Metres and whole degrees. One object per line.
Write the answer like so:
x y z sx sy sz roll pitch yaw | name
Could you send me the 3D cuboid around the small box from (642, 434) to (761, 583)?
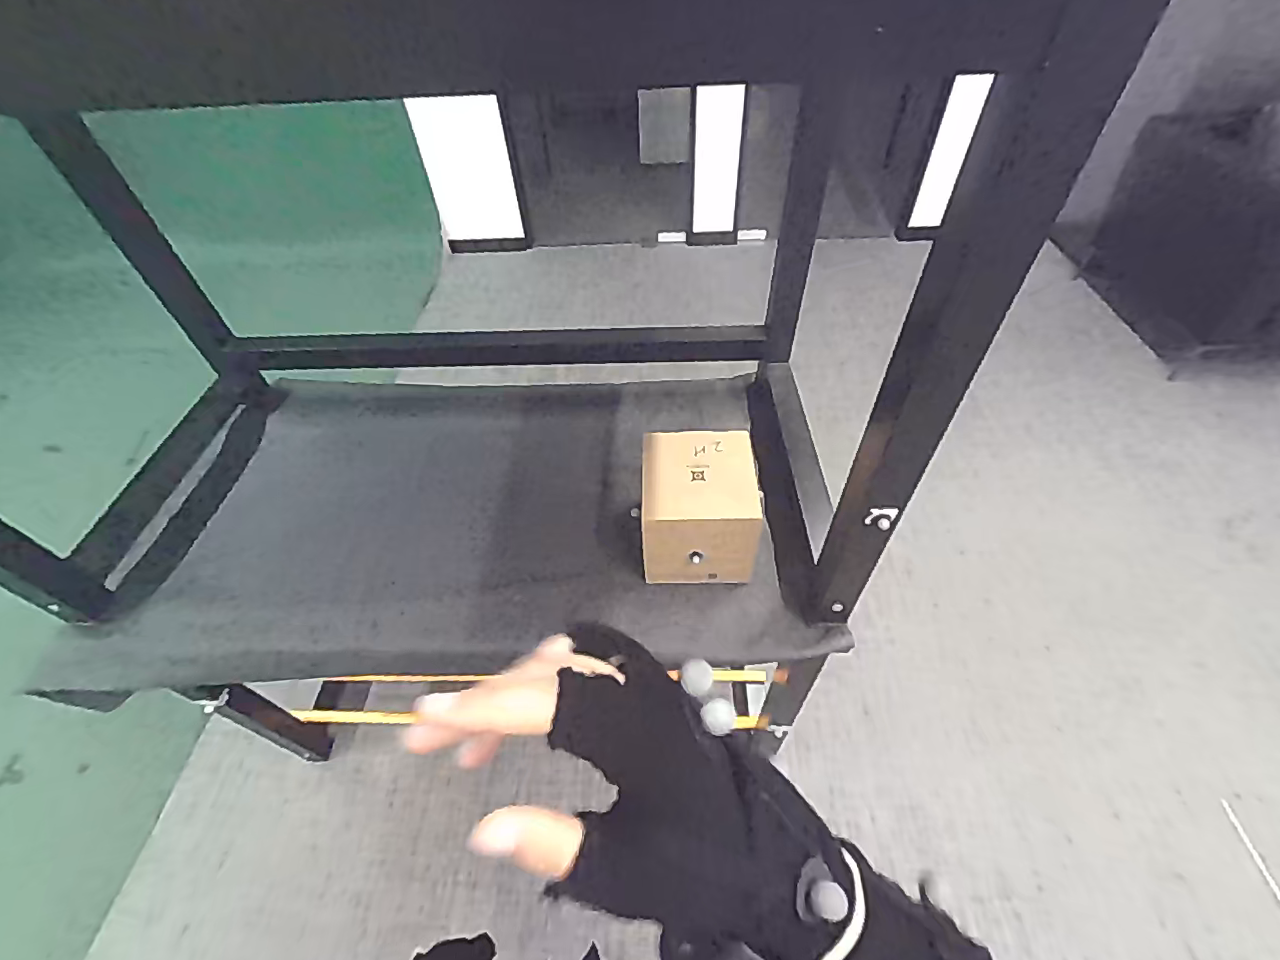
0.091 0.048 0.848 0.168 0.176 0.179 0 48 2 | small box
